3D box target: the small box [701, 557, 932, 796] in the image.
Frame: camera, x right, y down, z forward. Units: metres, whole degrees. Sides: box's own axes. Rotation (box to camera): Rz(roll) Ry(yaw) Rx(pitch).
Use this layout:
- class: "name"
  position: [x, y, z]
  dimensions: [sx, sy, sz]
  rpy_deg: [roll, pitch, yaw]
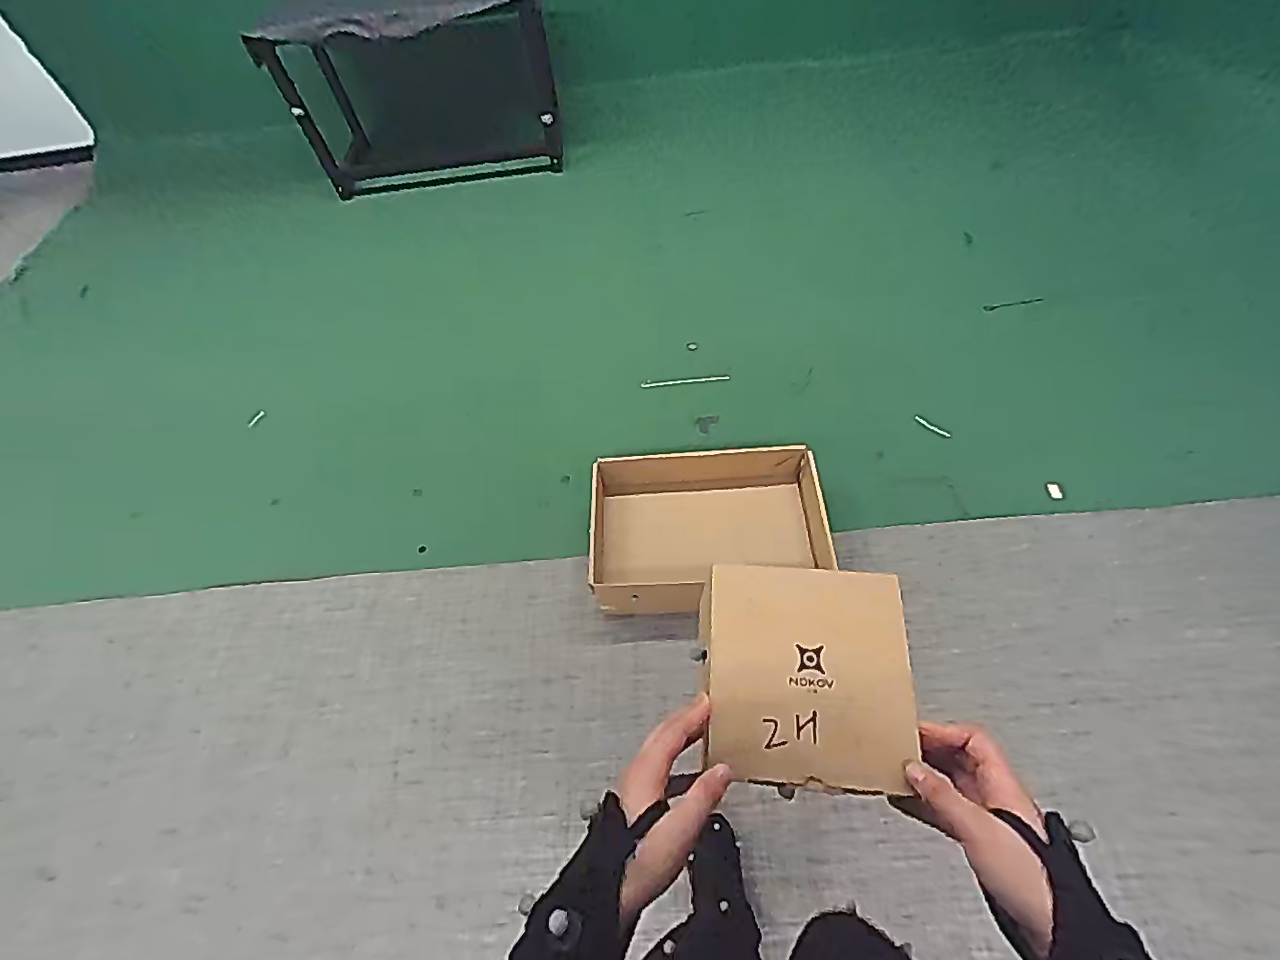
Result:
- class: "small box"
  position: [0.147, 0.186, 0.516]
  dimensions: [0.168, 0.176, 0.179]
  rpy_deg: [3, 65, 4]
